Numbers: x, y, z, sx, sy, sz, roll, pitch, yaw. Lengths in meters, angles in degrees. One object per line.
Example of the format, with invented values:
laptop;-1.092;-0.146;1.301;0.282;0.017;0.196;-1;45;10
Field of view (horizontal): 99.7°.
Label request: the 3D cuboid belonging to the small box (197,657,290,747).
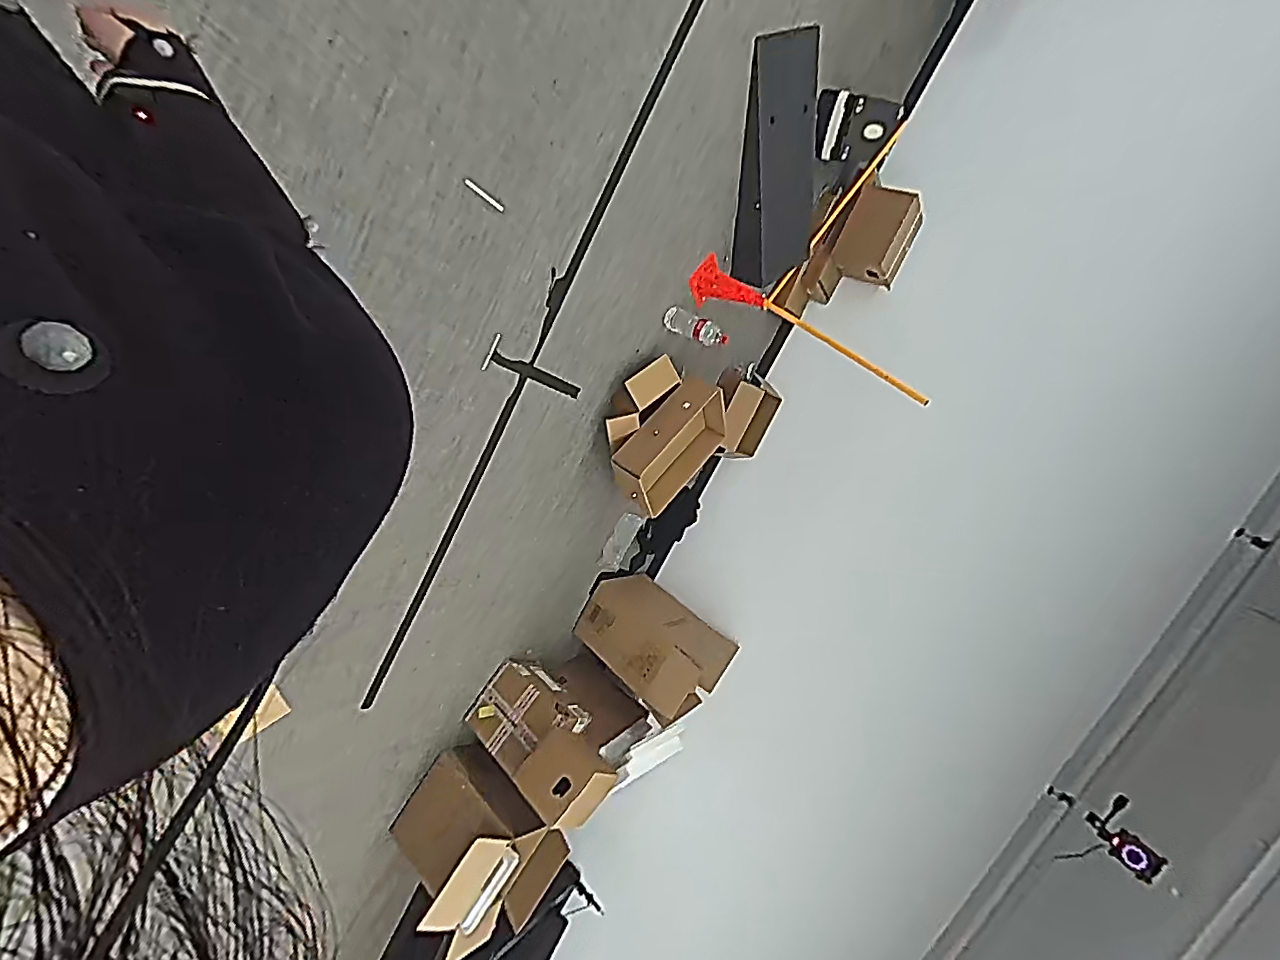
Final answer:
small box;-1.255;0.693;1.711;0.168;0.176;0.179;-33;144;-36
